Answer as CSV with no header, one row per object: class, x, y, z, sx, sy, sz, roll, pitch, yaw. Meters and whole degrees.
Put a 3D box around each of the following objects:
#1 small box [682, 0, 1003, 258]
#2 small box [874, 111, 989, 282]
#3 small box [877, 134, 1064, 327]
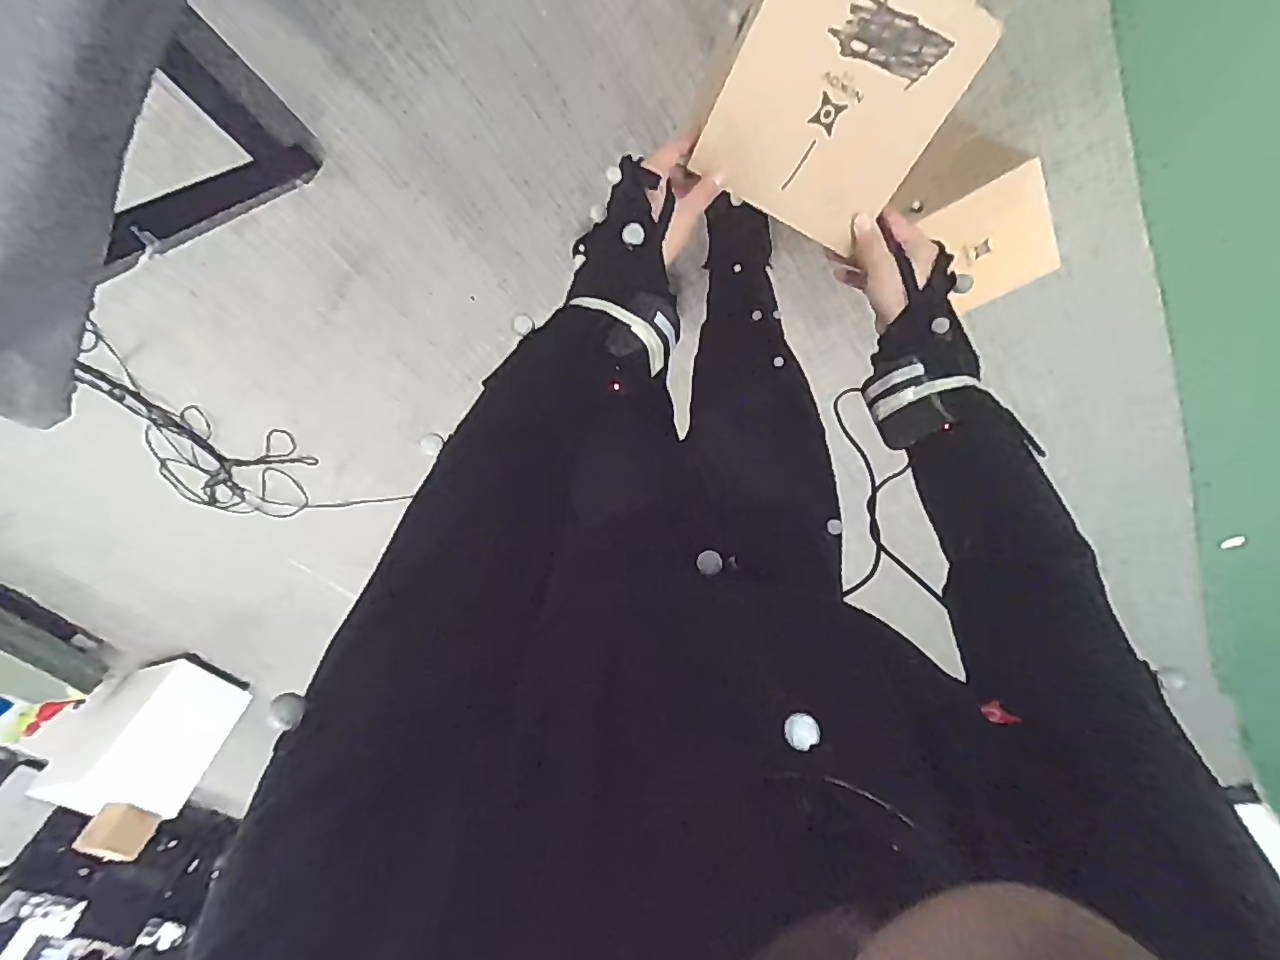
small box,0.144,-0.329,0.462,0.168,0.176,0.179,20,126,-15
small box,0.484,-0.476,0.910,0.179,0.176,0.168,-24,125,29
small box,0.470,-0.366,0.791,0.179,0.176,0.168,-24,125,27
